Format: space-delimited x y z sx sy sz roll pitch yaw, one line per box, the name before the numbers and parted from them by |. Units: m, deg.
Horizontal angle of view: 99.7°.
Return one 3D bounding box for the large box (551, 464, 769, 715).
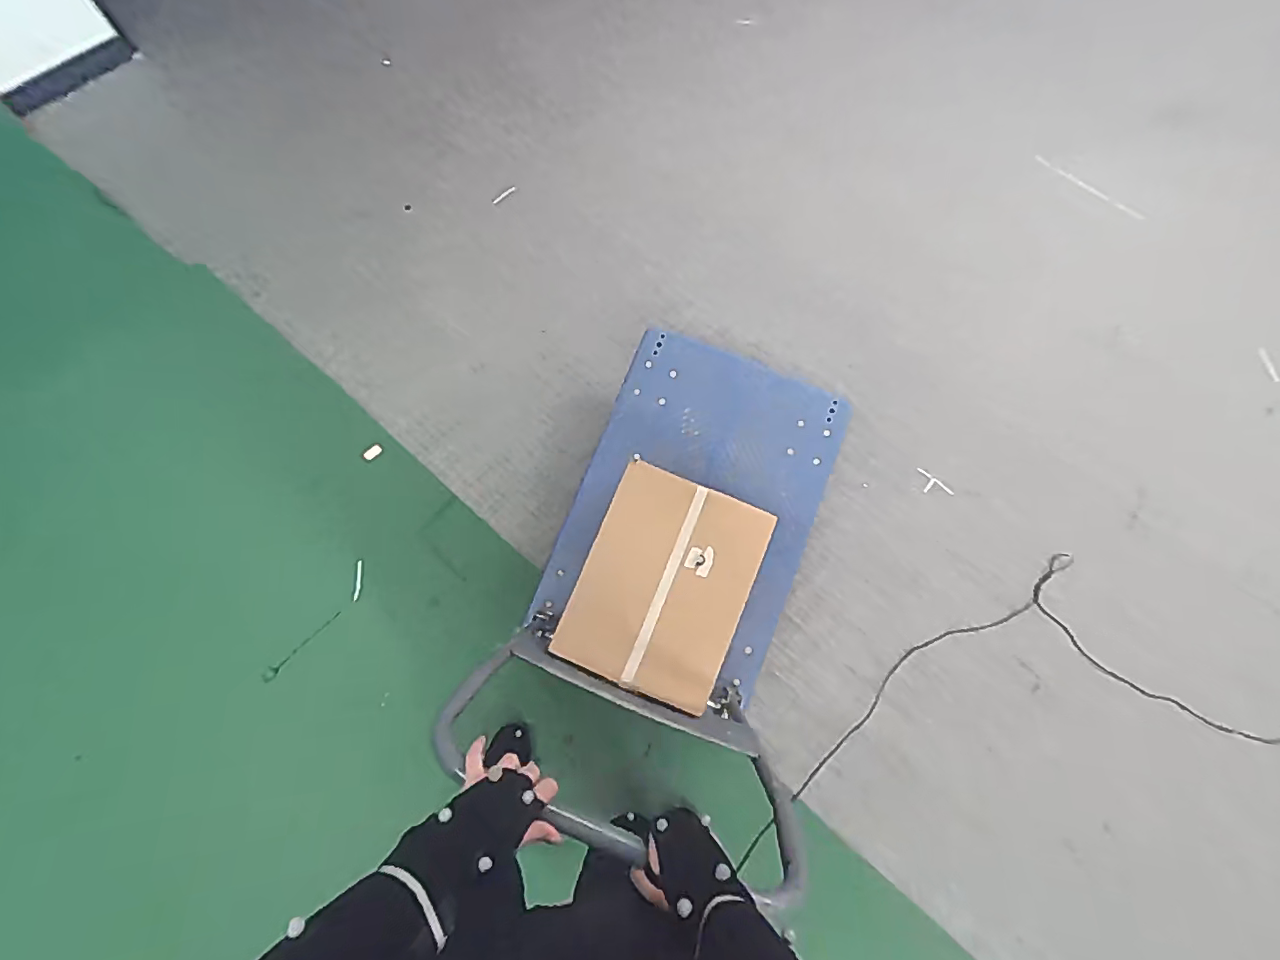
large box | 0.043 0.230 1.186 0.320 0.320 0.408 23 80 3
